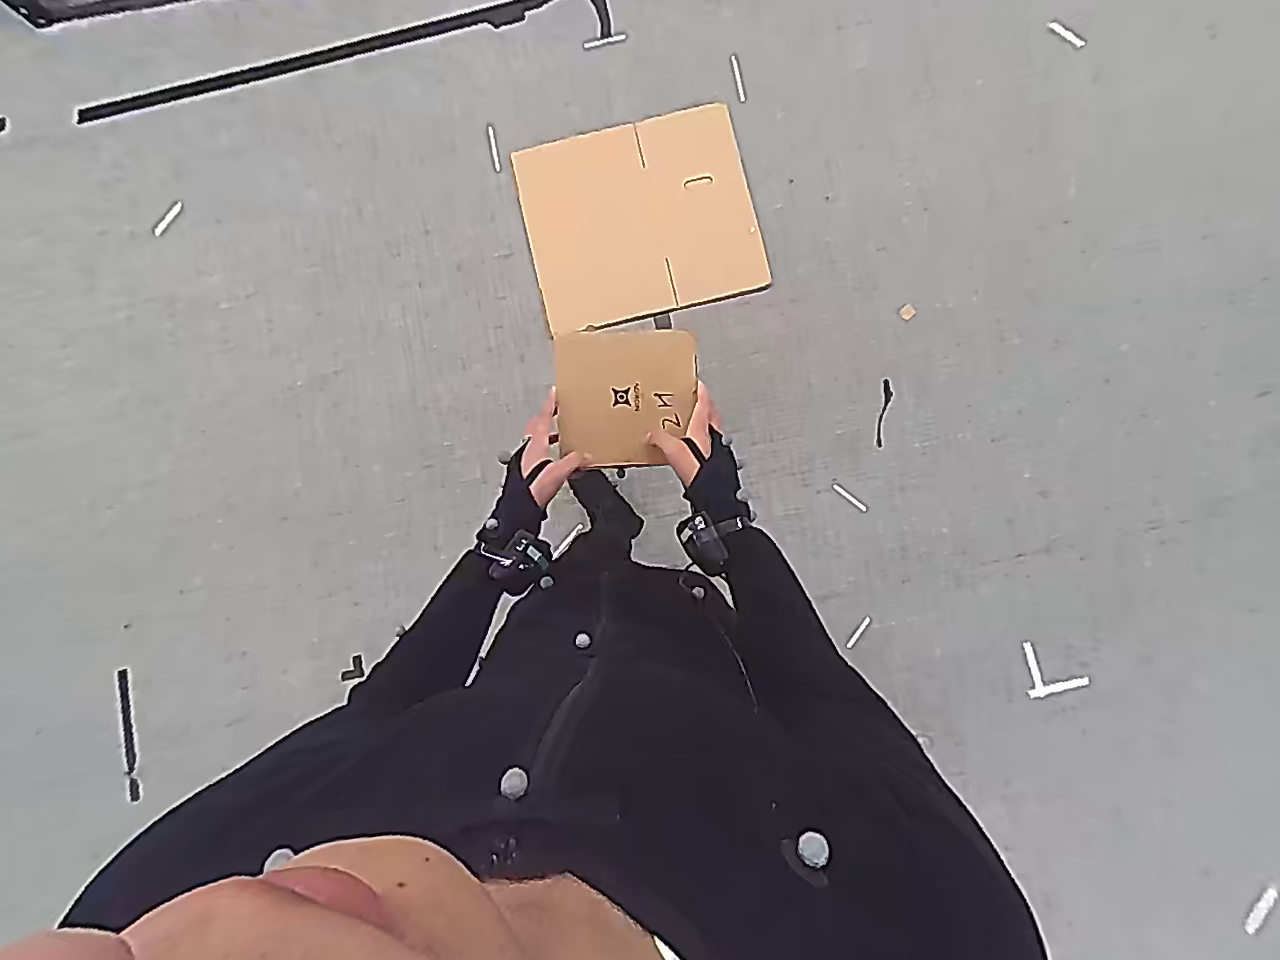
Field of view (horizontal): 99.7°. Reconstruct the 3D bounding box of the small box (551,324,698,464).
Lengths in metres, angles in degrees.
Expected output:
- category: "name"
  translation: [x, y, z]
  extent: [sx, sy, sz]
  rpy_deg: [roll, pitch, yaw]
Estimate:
- category: "small box"
  translation: [-0.024, -0.108, 0.736]
  extent: [0.179, 0.176, 0.168]
  rpy_deg: [-3, 91, -5]
